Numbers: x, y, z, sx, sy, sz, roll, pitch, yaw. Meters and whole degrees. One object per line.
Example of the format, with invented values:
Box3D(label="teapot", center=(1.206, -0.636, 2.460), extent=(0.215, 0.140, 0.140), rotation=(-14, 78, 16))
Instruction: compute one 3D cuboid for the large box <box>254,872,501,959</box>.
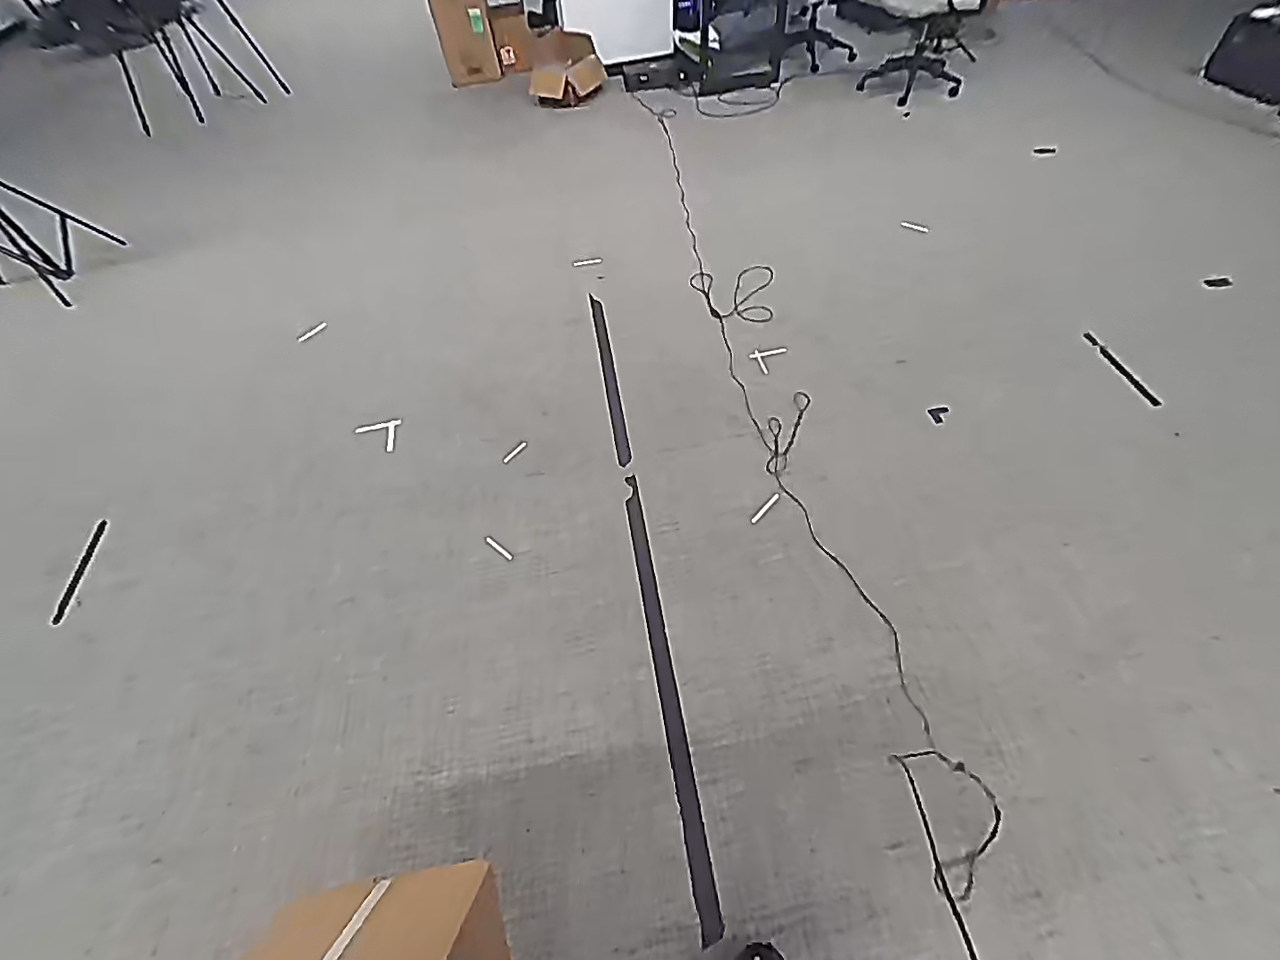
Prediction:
Box3D(label="large box", center=(-0.348, 0.761, 0.618), extent=(0.320, 0.408, 0.320), rotation=(-14, 87, 0))
